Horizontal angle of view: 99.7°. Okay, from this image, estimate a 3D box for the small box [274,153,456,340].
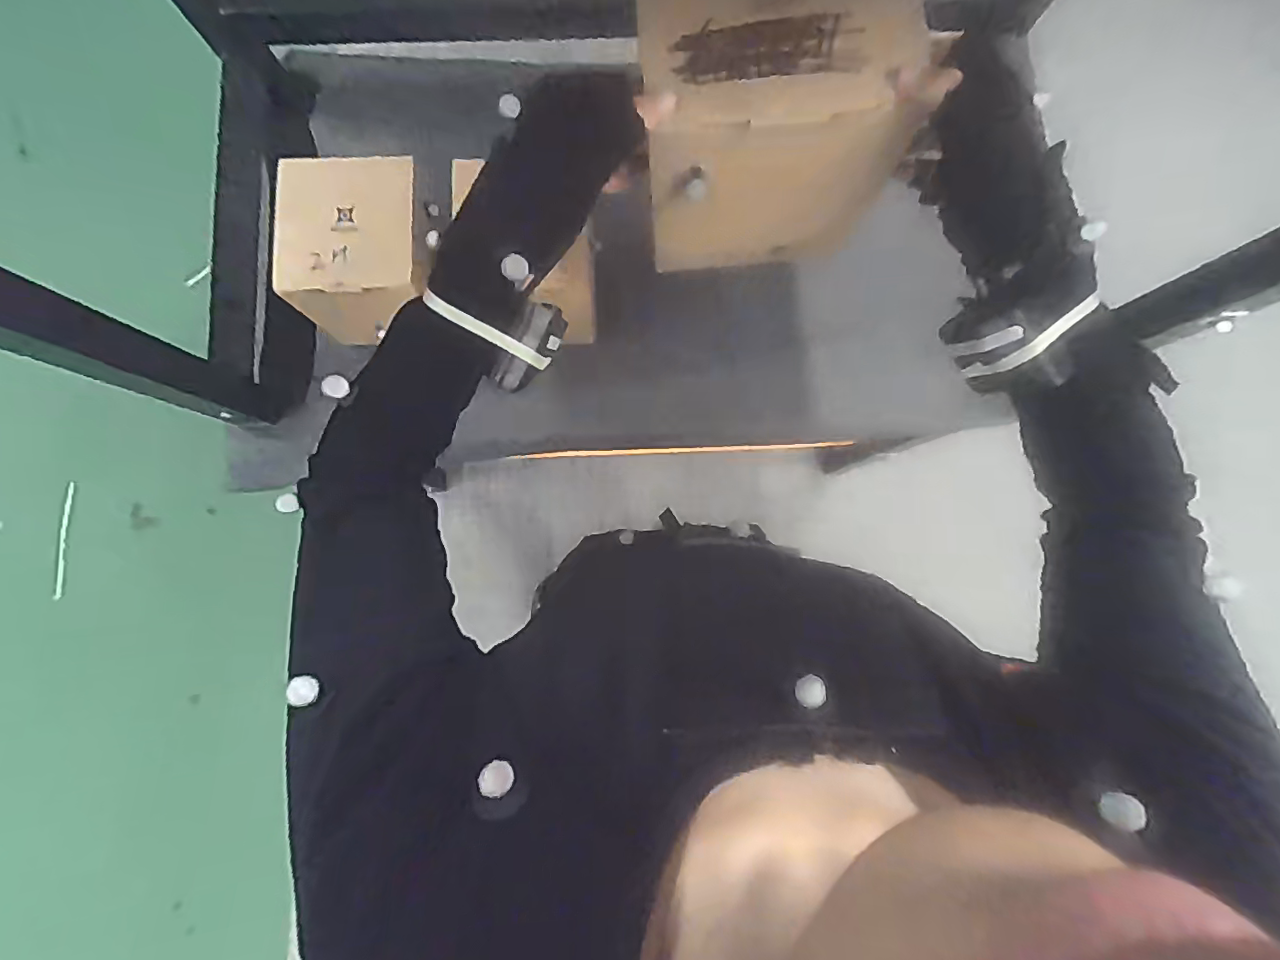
[{"bbox_3d":[-0.356,-0.306,0.732,0.168,0.176,0.179,-2,82,-2],"label":"small box"}]

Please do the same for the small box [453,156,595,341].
[{"bbox_3d":[-0.149,-0.307,0.741,0.168,0.176,0.179,-2,82,-2],"label":"small box"}]
